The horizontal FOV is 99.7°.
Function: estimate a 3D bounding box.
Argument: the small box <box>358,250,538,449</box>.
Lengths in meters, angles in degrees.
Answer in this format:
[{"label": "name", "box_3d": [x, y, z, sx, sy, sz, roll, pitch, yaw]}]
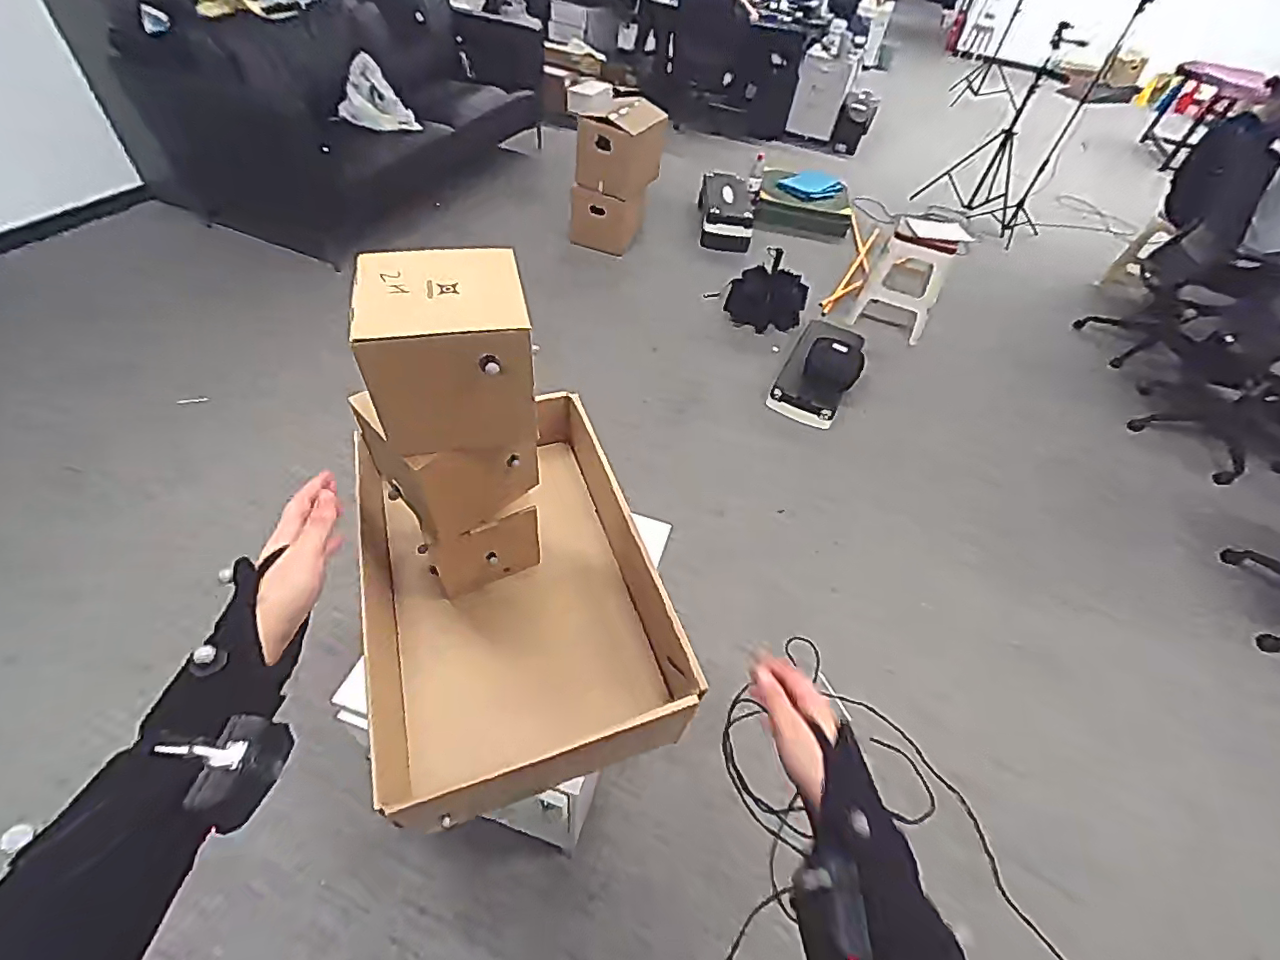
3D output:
[{"label": "small box", "box_3d": [-0.221, -0.157, 0.659, 0.179, 0.176, 0.168, -9, 51, -13]}]

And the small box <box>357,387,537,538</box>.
[{"label": "small box", "box_3d": [-0.265, -0.053, 0.783, 0.168, 0.176, 0.179, 39, 58, 24]}]
